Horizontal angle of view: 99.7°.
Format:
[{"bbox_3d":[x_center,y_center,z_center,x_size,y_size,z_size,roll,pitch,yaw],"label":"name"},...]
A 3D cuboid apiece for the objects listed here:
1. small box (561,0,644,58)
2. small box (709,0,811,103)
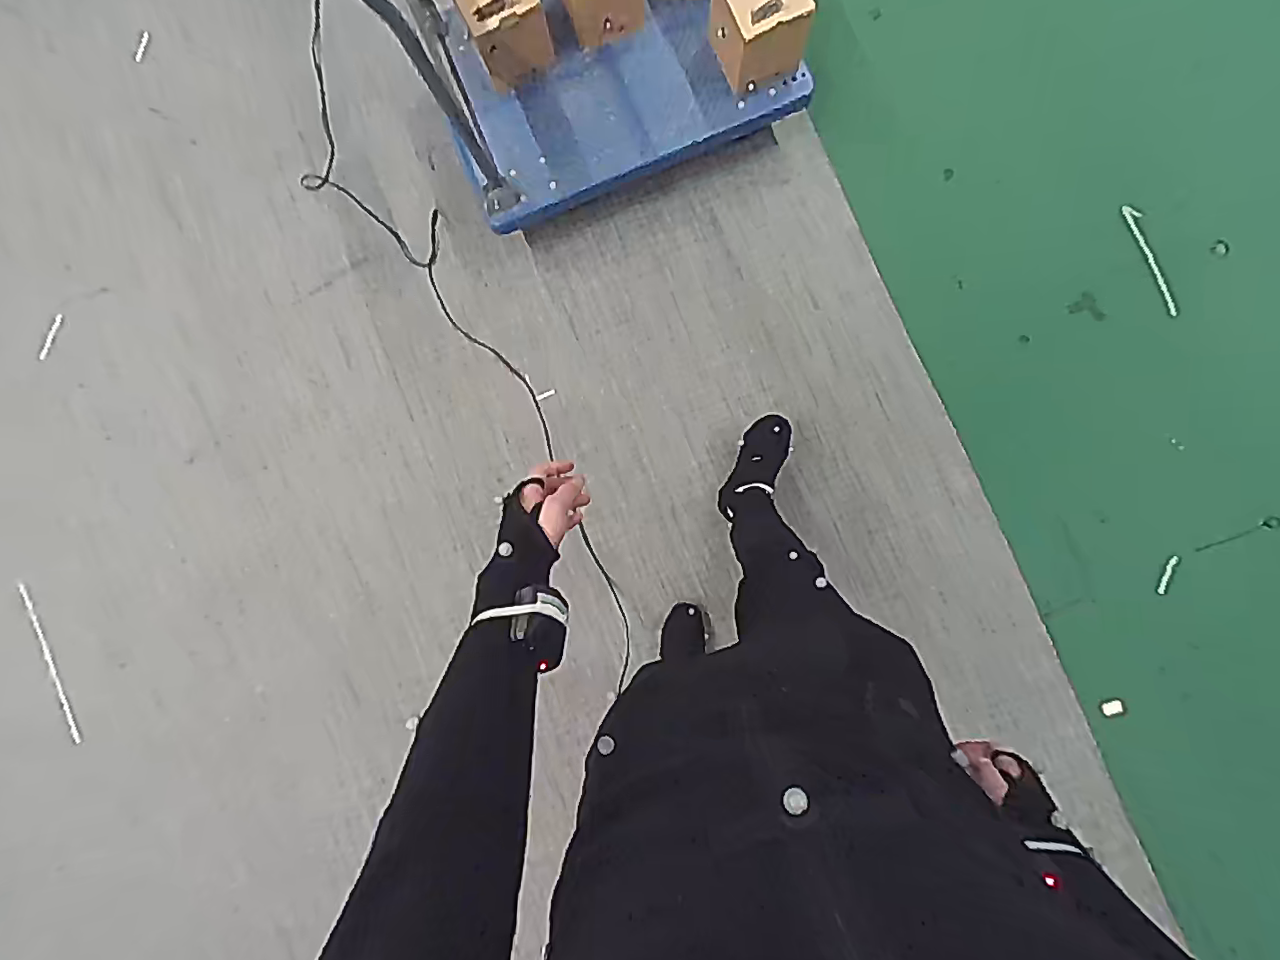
[{"bbox_3d":[-0.097,-1.156,1.268,0.168,0.176,0.179,-22,87,1],"label":"small box"},{"bbox_3d":[0.270,-1.025,1.258,0.168,0.176,0.179,-23,85,1],"label":"small box"}]
